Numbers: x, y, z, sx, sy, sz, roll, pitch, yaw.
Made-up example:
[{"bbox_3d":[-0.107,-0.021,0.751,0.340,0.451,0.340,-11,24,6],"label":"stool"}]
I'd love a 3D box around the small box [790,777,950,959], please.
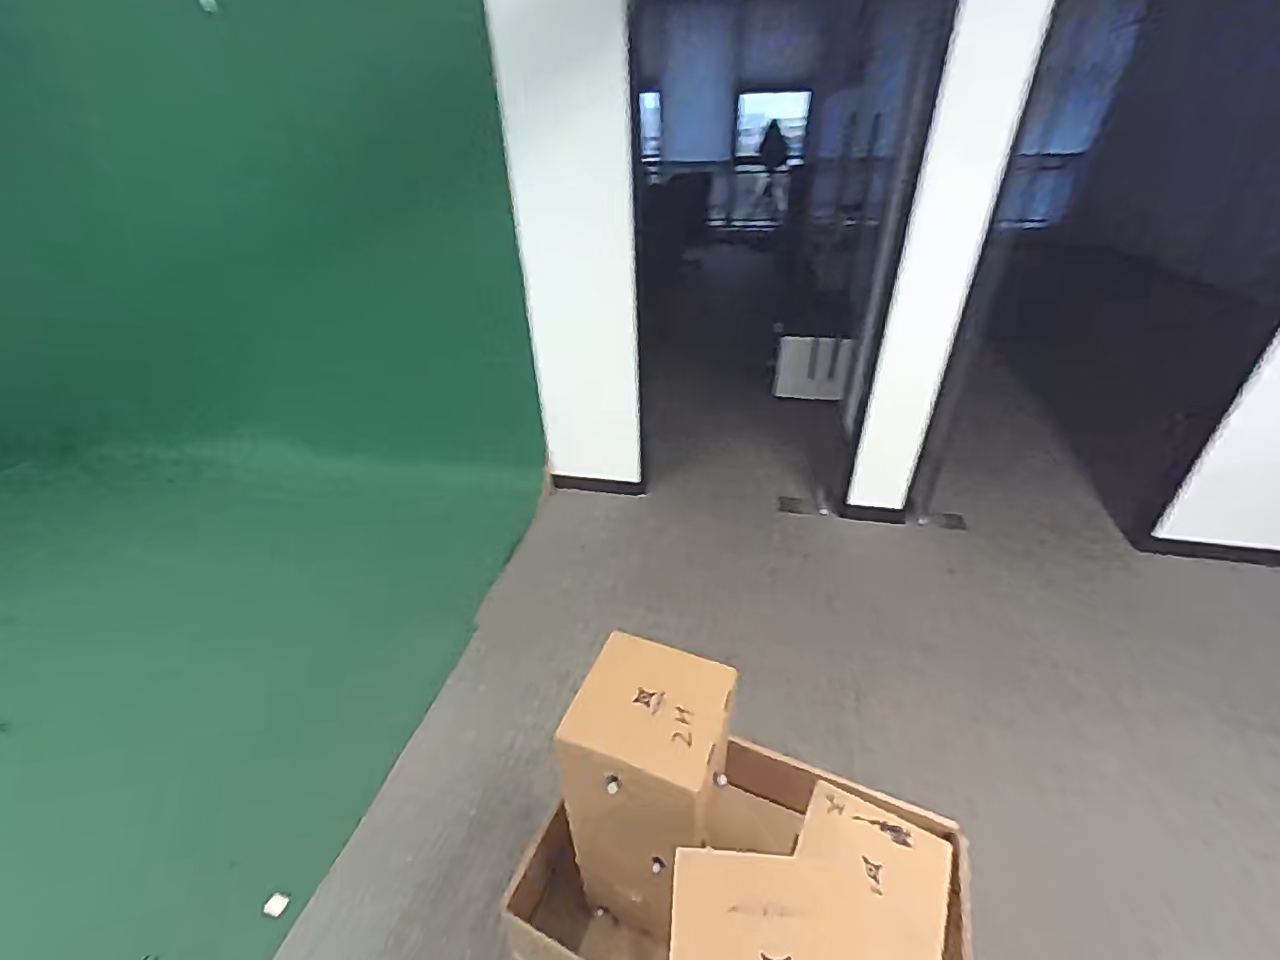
[{"bbox_3d":[0.267,0.530,0.679,0.168,0.176,0.179,18,39,26],"label":"small box"}]

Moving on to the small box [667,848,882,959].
[{"bbox_3d":[0.108,0.445,0.445,0.168,0.176,0.179,-1,30,7],"label":"small box"}]

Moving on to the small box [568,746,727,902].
[{"bbox_3d":[0.014,0.466,0.788,0.179,0.176,0.168,14,37,19],"label":"small box"}]

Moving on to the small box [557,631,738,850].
[{"bbox_3d":[0.014,0.331,0.694,0.179,0.176,0.168,13,37,19],"label":"small box"}]
